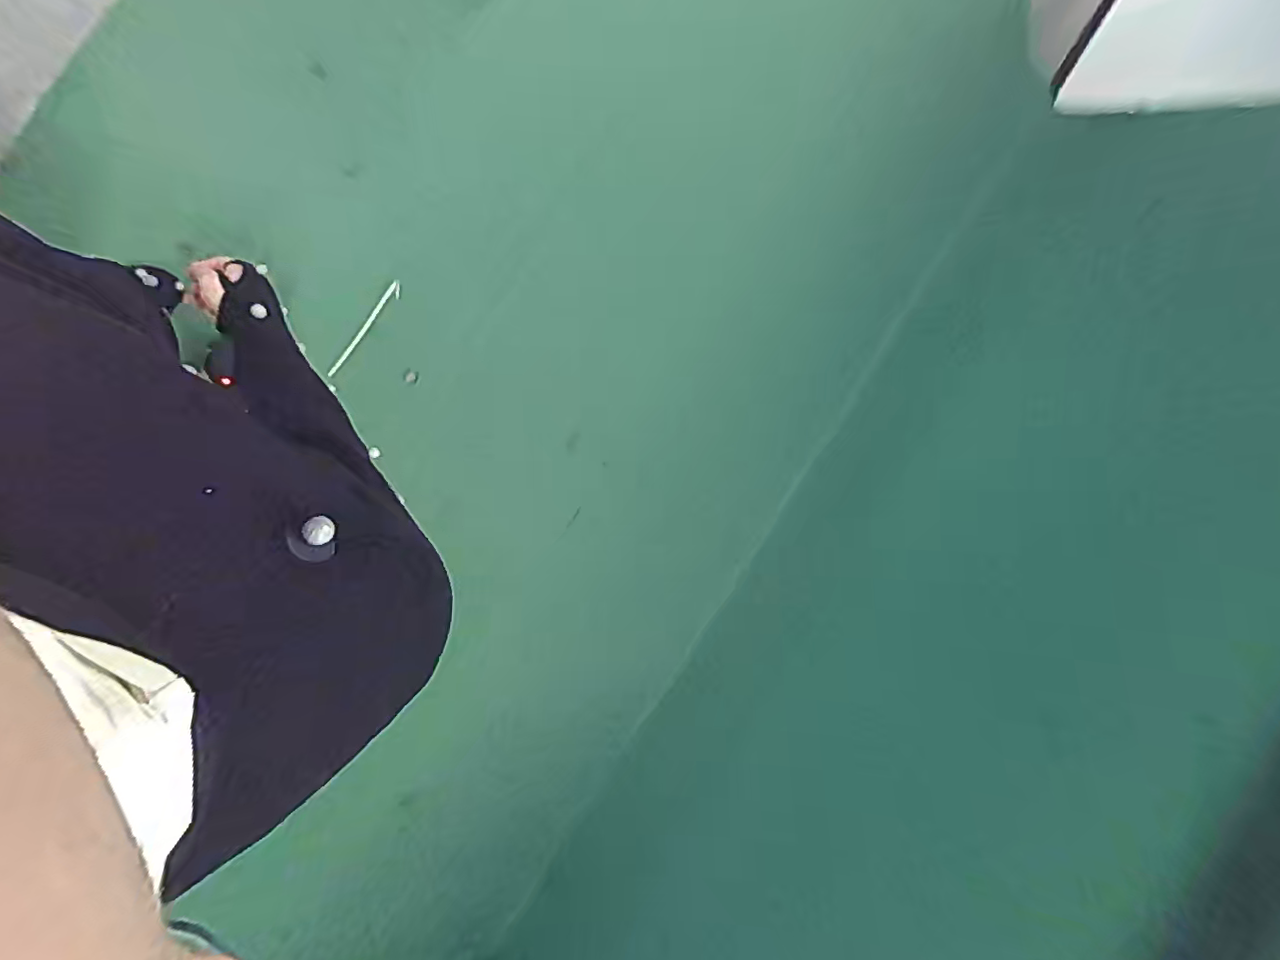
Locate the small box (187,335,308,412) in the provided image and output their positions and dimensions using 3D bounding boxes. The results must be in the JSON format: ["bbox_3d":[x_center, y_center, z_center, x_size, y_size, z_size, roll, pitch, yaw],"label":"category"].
[{"bbox_3d":[-0.931,-0.216,1.282,0.179,0.176,0.168,-55,137,-4],"label":"small box"}]
